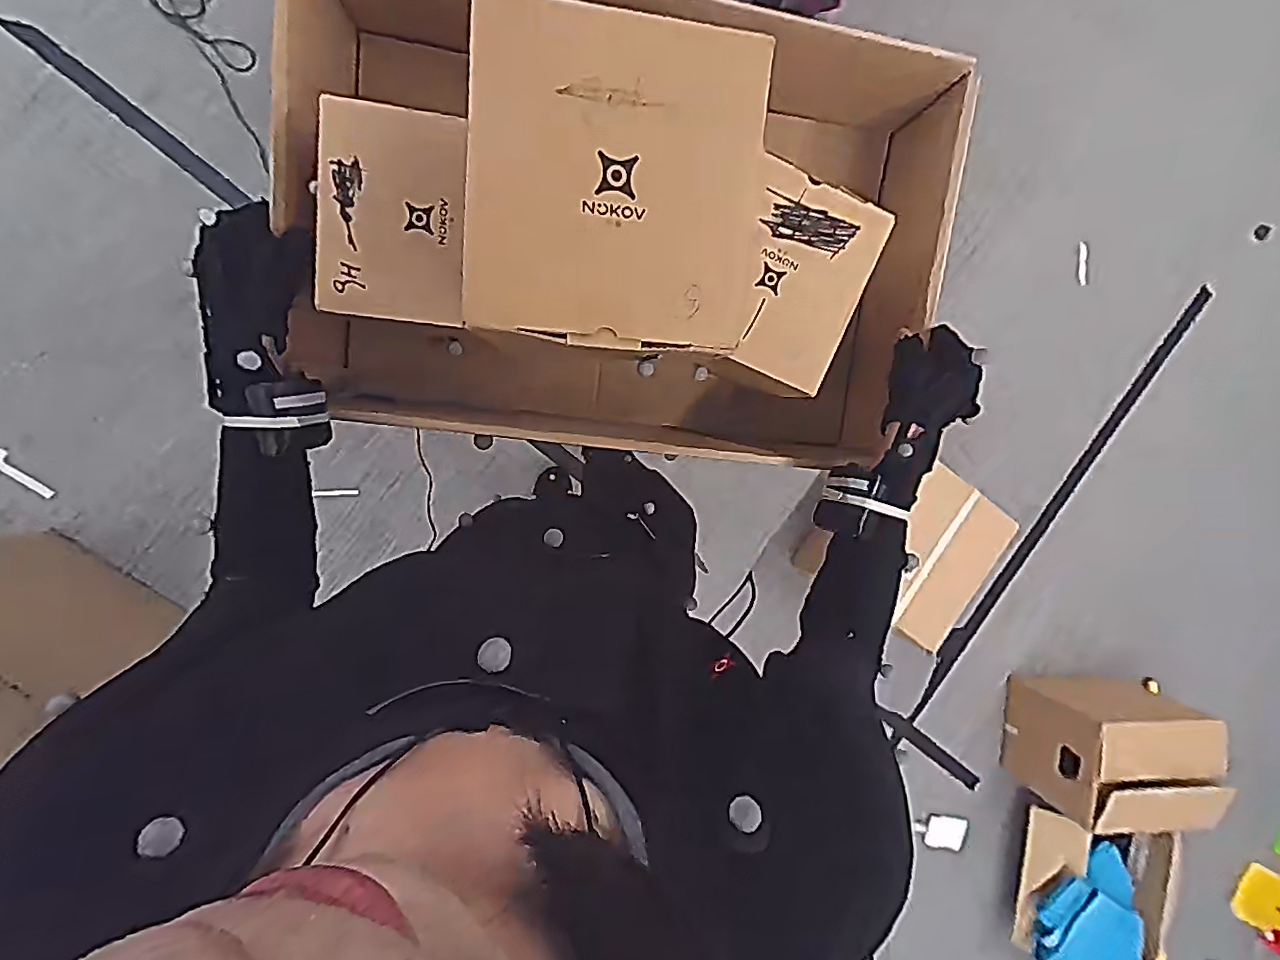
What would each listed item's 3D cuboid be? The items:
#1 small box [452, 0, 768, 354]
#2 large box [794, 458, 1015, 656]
[{"bbox_3d":[-0.027,-0.185,0.374,0.168,0.176,0.179,3,98,-8],"label":"small box"},{"bbox_3d":[0.706,0.188,1.495,0.320,0.320,0.408,35,88,-8],"label":"large box"}]
